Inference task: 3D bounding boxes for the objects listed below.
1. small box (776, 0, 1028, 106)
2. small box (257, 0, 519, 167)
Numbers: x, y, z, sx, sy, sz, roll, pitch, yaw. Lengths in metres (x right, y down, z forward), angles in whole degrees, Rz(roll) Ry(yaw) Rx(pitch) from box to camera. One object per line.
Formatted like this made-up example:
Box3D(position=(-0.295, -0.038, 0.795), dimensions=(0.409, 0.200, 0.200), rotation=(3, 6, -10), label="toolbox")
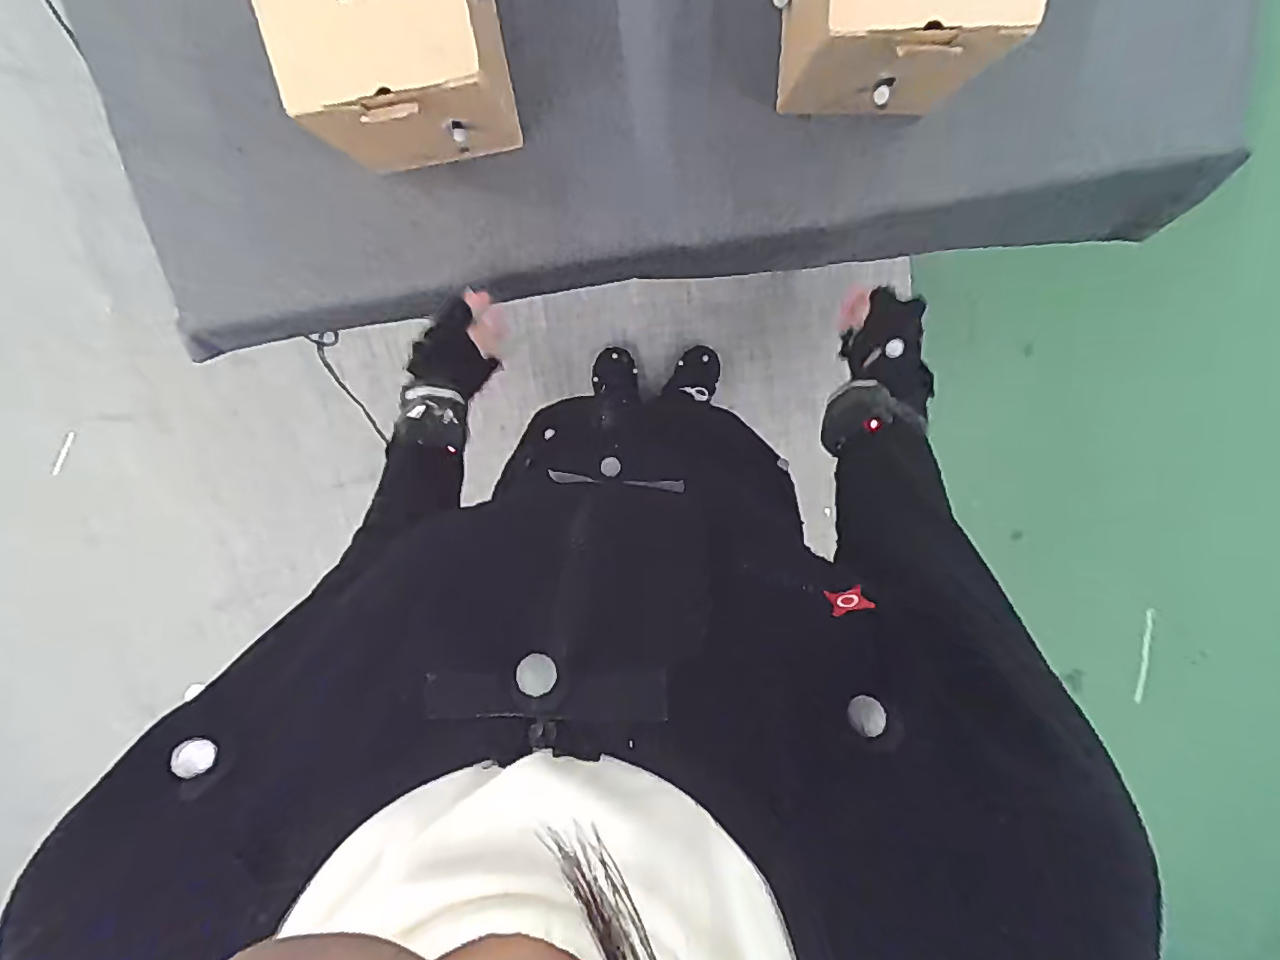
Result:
Box3D(position=(0.223, -0.457, 0.481), dimensions=(0.168, 0.176, 0.179), rotation=(0, 107, 1), label="small box")
Box3D(position=(-0.223, -0.415, 0.503), dimensions=(0.168, 0.176, 0.179), rotation=(-10, 104, 2), label="small box")
